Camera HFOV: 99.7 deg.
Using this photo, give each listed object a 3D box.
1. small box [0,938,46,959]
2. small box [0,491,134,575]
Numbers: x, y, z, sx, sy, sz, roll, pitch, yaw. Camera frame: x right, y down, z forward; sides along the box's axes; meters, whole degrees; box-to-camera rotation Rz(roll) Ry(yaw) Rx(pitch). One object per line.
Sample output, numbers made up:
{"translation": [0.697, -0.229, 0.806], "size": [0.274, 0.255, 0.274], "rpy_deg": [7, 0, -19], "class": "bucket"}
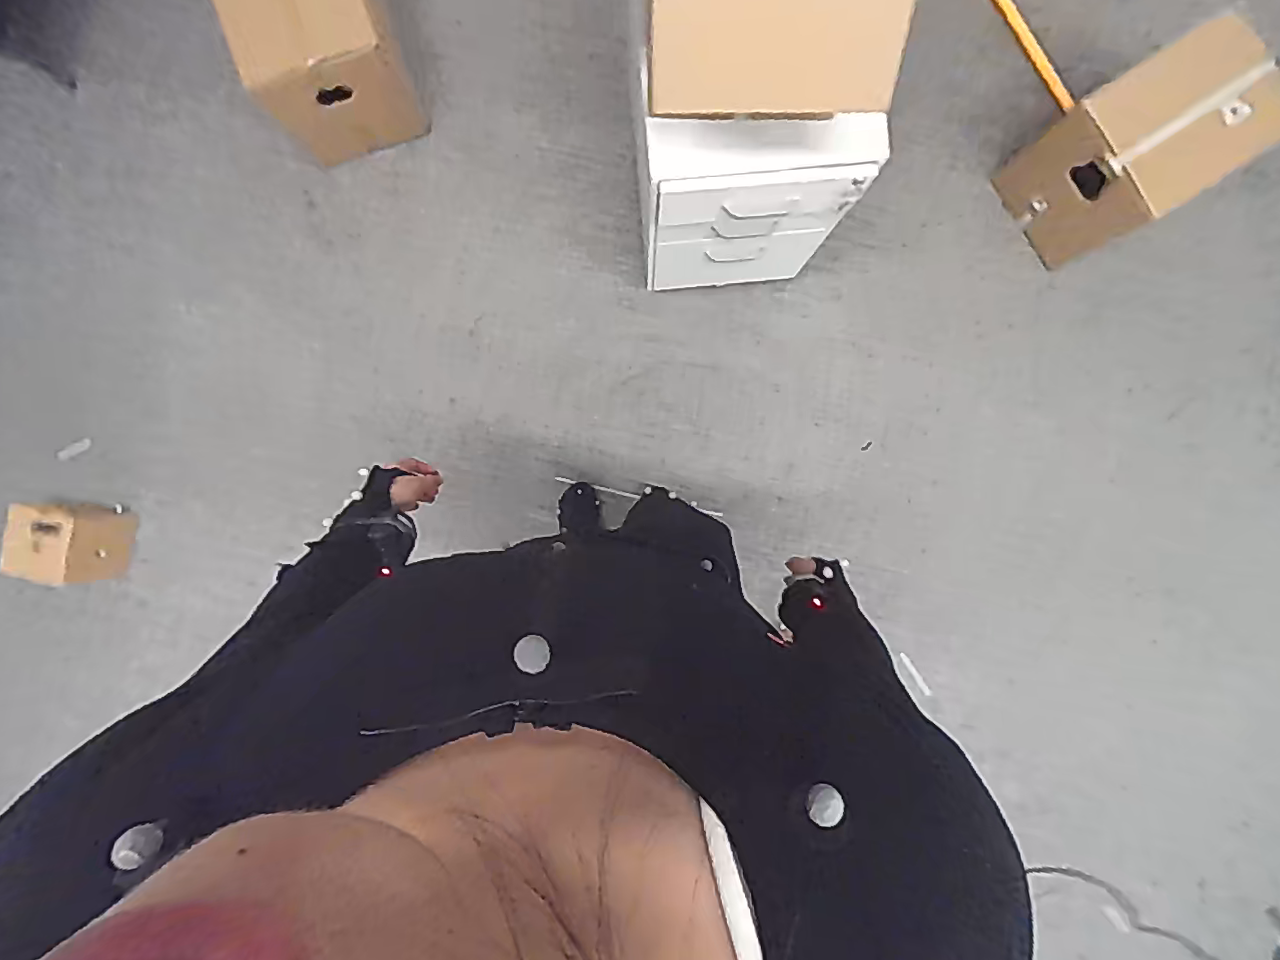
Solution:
{"translation": [-1.766, 1.371, 1.433], "size": [0.179, 0.176, 0.168], "rpy_deg": [19, 92, -1], "class": "small box"}
{"translation": [-1.489, 0.131, 1.416], "size": [0.168, 0.176, 0.179], "rpy_deg": [14, 92, -1], "class": "small box"}
